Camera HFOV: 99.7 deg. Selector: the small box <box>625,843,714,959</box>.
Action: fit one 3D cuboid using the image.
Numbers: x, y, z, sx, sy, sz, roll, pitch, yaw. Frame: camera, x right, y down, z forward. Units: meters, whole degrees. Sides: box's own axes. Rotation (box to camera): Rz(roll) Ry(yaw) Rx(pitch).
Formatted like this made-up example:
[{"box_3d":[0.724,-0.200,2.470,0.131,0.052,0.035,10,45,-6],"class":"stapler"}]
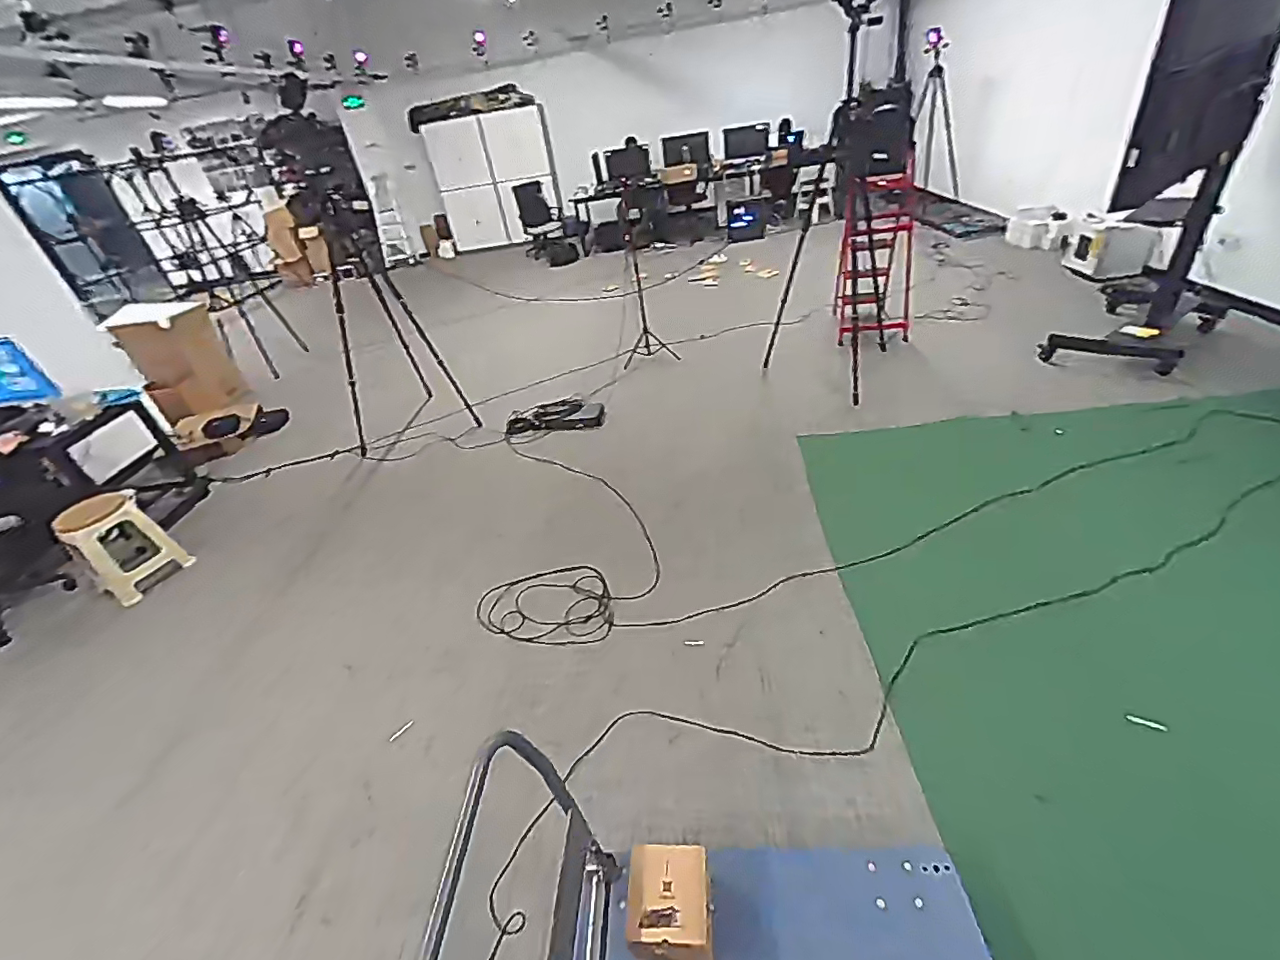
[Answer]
[{"box_3d":[0.070,0.921,1.170,0.168,0.176,0.179,-4,35,9],"class":"small box"}]
